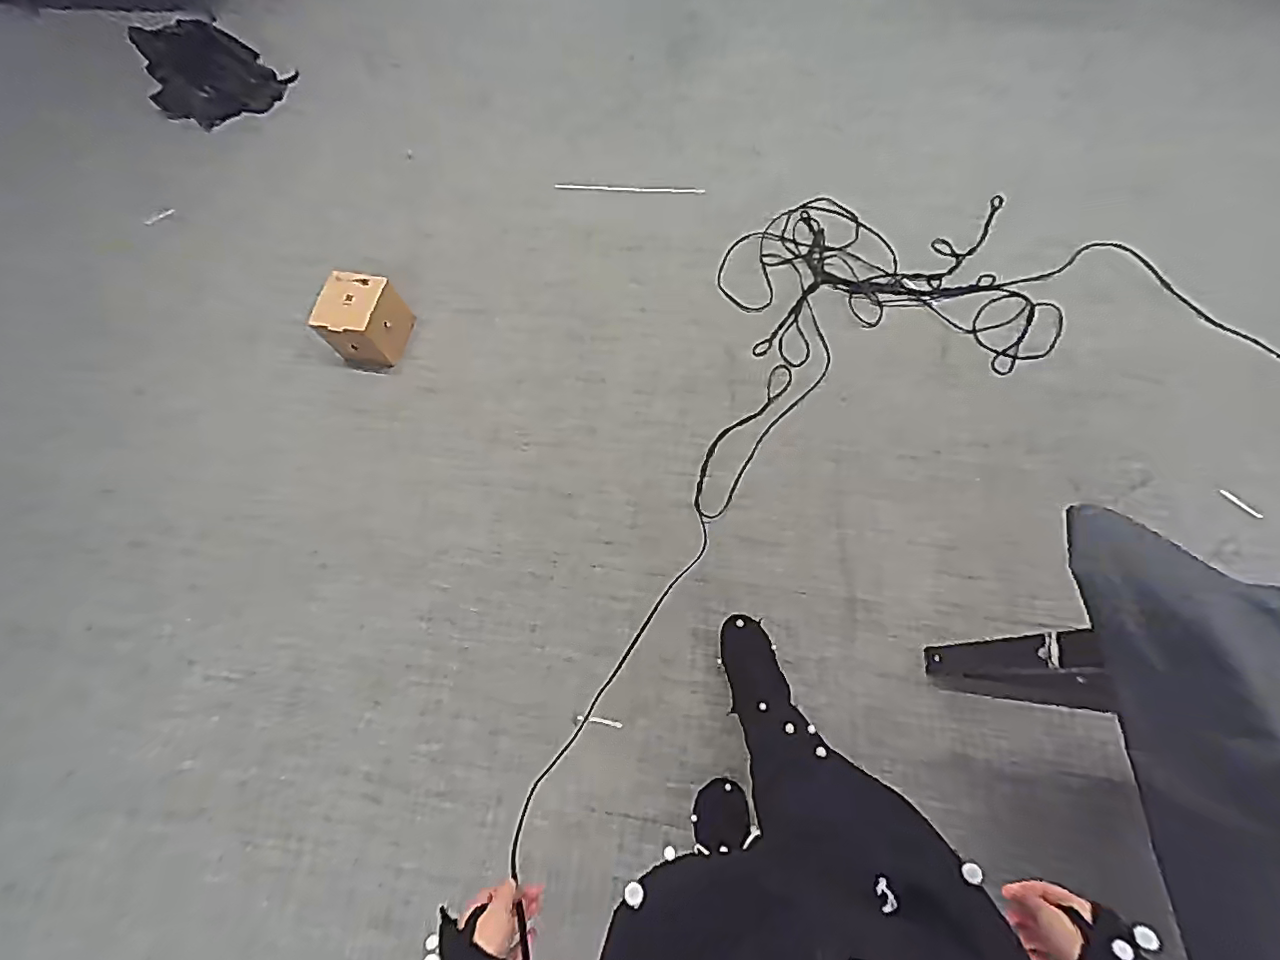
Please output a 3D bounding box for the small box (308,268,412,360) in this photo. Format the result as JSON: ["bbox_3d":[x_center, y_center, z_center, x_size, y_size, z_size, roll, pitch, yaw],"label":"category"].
[{"bbox_3d":[-0.761,-0.452,1.493,0.168,0.176,0.179,10,72,7],"label":"small box"}]
